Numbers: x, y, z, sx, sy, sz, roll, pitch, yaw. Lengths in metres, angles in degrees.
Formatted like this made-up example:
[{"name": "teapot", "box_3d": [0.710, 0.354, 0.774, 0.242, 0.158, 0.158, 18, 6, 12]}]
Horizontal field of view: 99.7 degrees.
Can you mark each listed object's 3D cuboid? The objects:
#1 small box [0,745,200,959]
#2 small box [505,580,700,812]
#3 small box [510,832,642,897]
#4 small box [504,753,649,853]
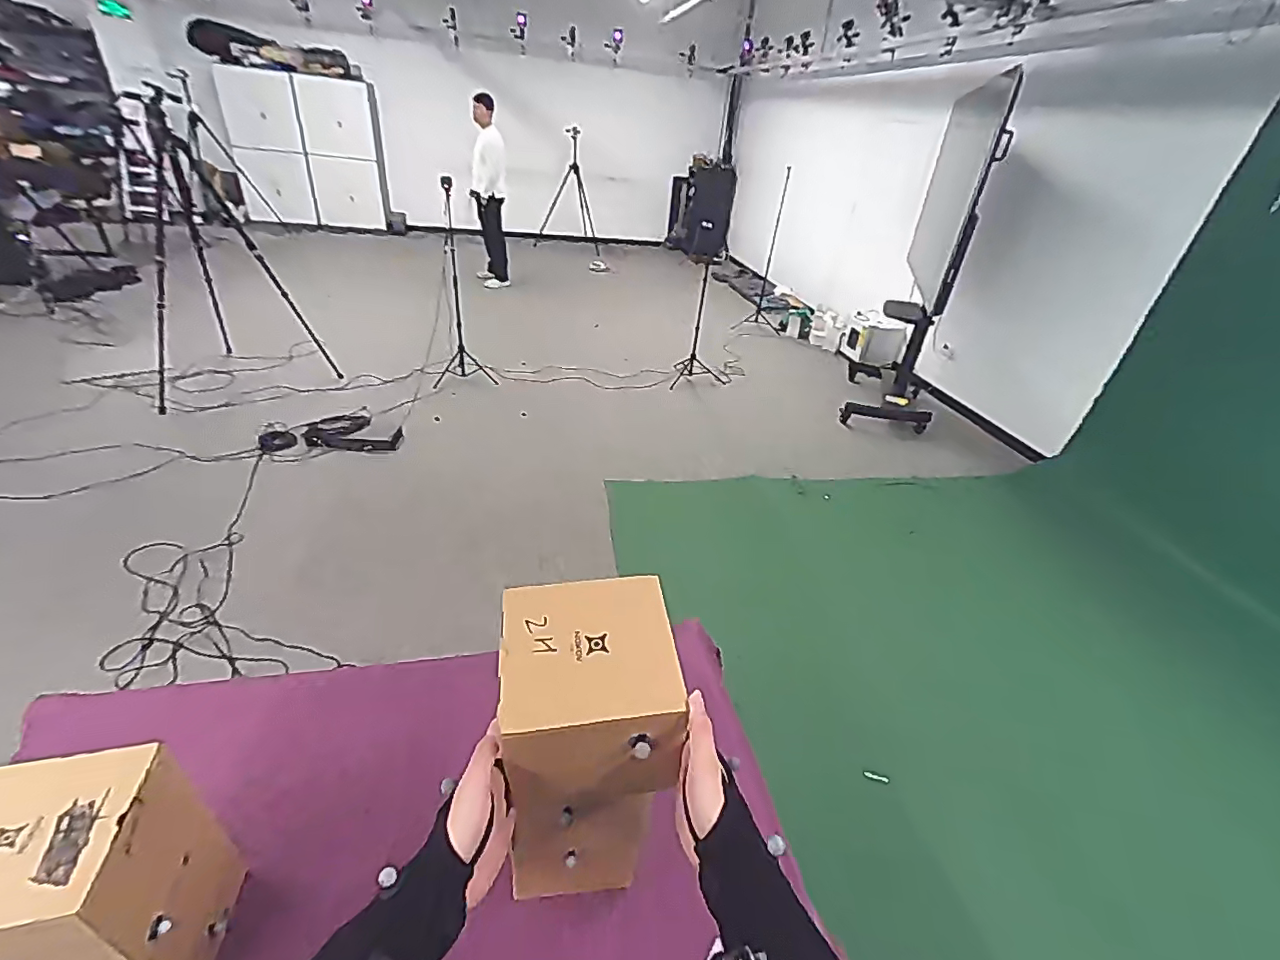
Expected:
[{"name": "small box", "box_3d": [-0.602, 0.407, 0.554, 0.179, 0.176, 0.168, -3, 34, -15]}, {"name": "small box", "box_3d": [-0.048, 0.230, 0.585, 0.179, 0.176, 0.168, -3, 39, -9]}, {"name": "small box", "box_3d": [-0.100, 0.501, 0.822, 0.179, 0.176, 0.168, 0, 34, -9]}, {"name": "small box", "box_3d": [-0.081, 0.370, 0.724, 0.179, 0.176, 0.168, 0, 34, -9]}]
